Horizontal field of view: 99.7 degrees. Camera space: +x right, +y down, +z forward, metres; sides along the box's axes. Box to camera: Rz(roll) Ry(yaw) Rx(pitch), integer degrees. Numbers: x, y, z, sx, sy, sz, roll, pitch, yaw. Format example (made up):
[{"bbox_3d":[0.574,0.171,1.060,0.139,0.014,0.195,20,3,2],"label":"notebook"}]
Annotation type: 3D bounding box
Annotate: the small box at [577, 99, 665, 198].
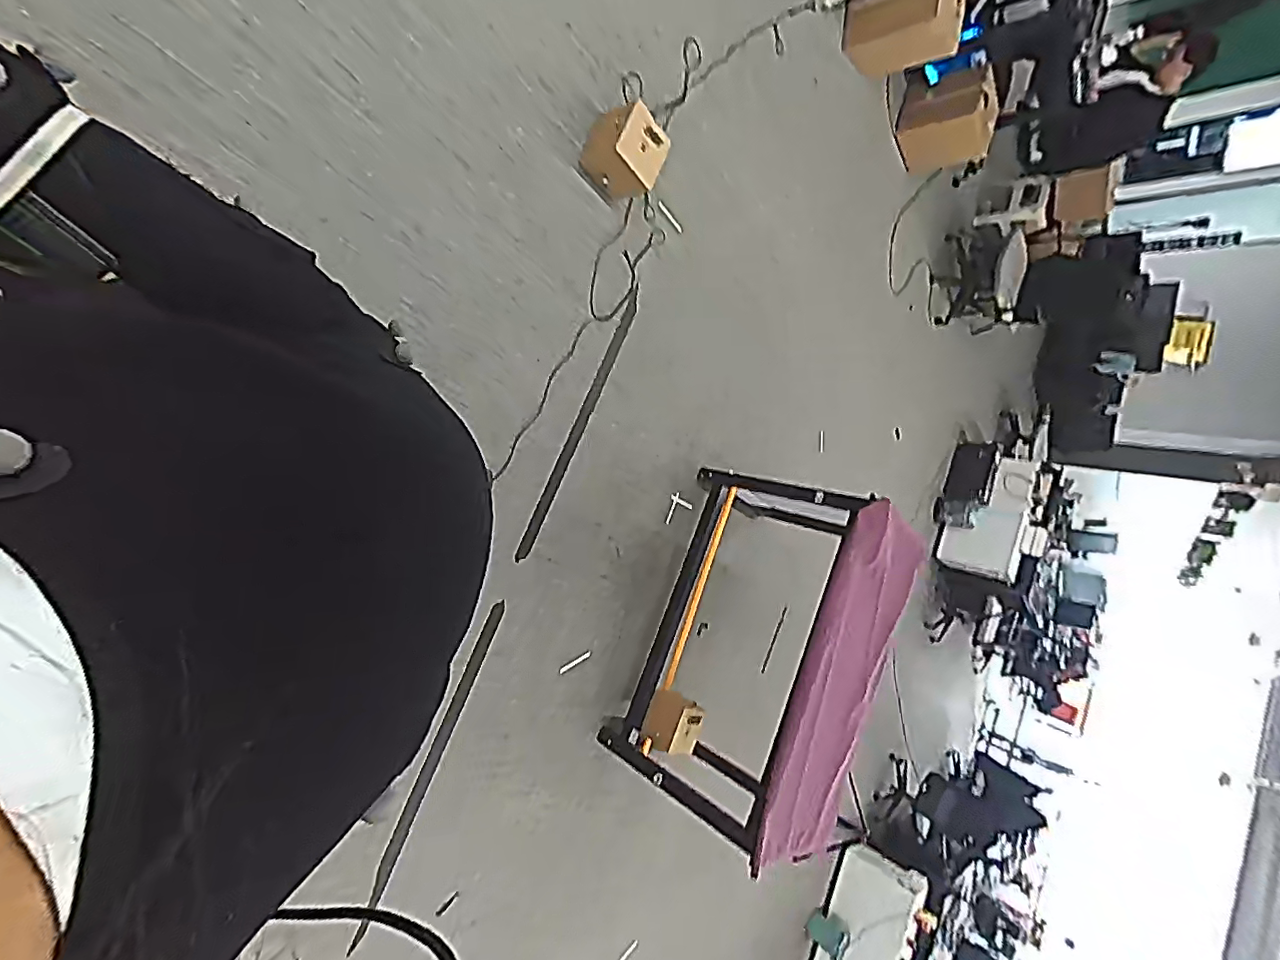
[{"bbox_3d":[-0.060,-0.986,1.624,0.168,0.176,0.179,30,79,-46],"label":"small box"}]
